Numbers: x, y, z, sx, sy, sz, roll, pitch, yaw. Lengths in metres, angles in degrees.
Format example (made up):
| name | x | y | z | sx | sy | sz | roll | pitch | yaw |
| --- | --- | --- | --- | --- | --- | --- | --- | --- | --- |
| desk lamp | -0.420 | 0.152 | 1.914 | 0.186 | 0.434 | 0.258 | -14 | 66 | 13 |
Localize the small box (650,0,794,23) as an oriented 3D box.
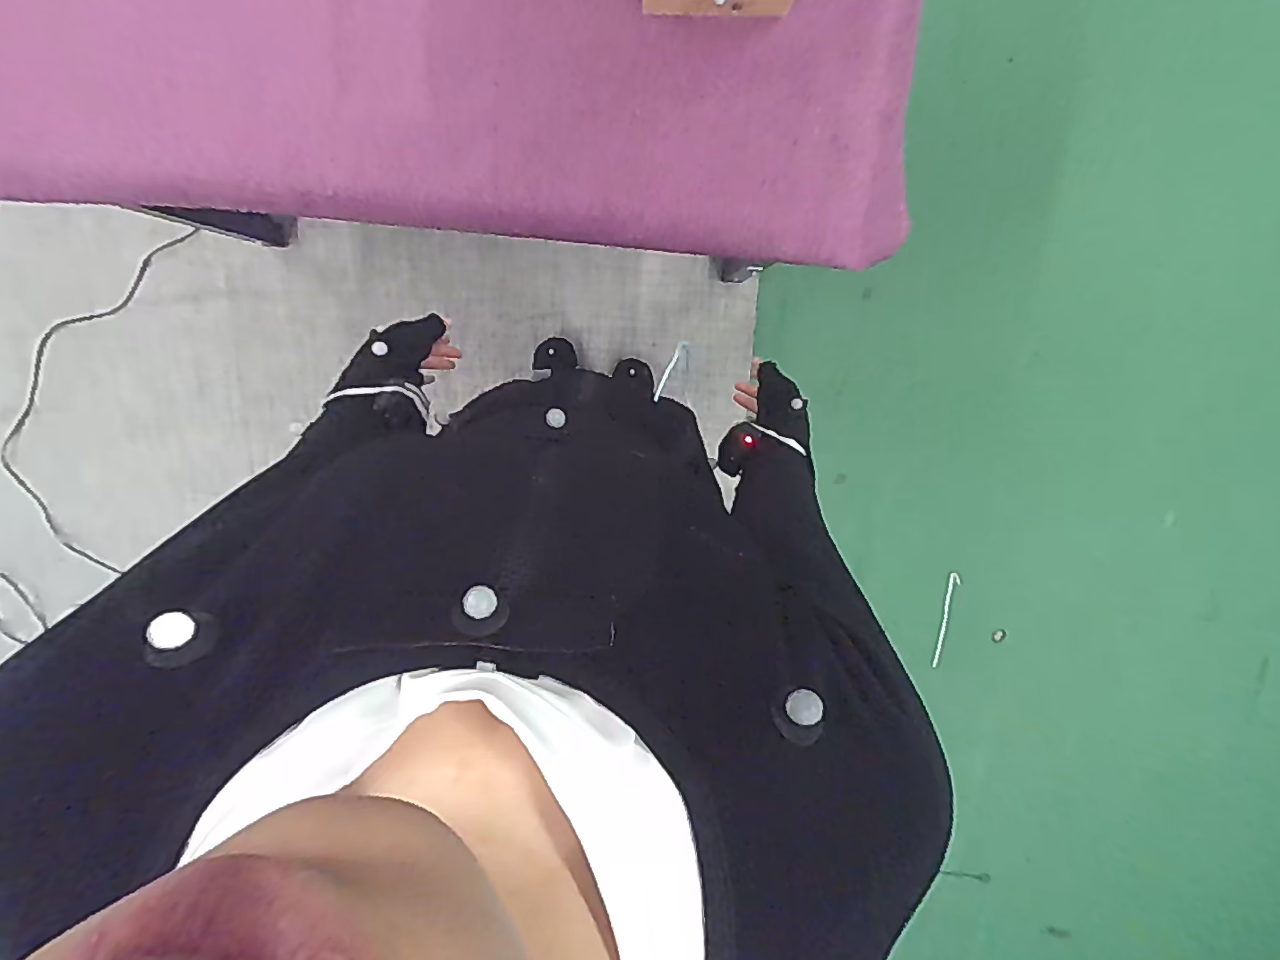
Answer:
| name | x | y | z | sx | sy | sz | roll | pitch | yaw |
| --- | --- | --- | --- | --- | --- | --- | --- | --- | --- |
| small box | 0.090 | -0.586 | 0.512 | 0.168 | 0.176 | 0.179 | 1 | 104 | -1 |
